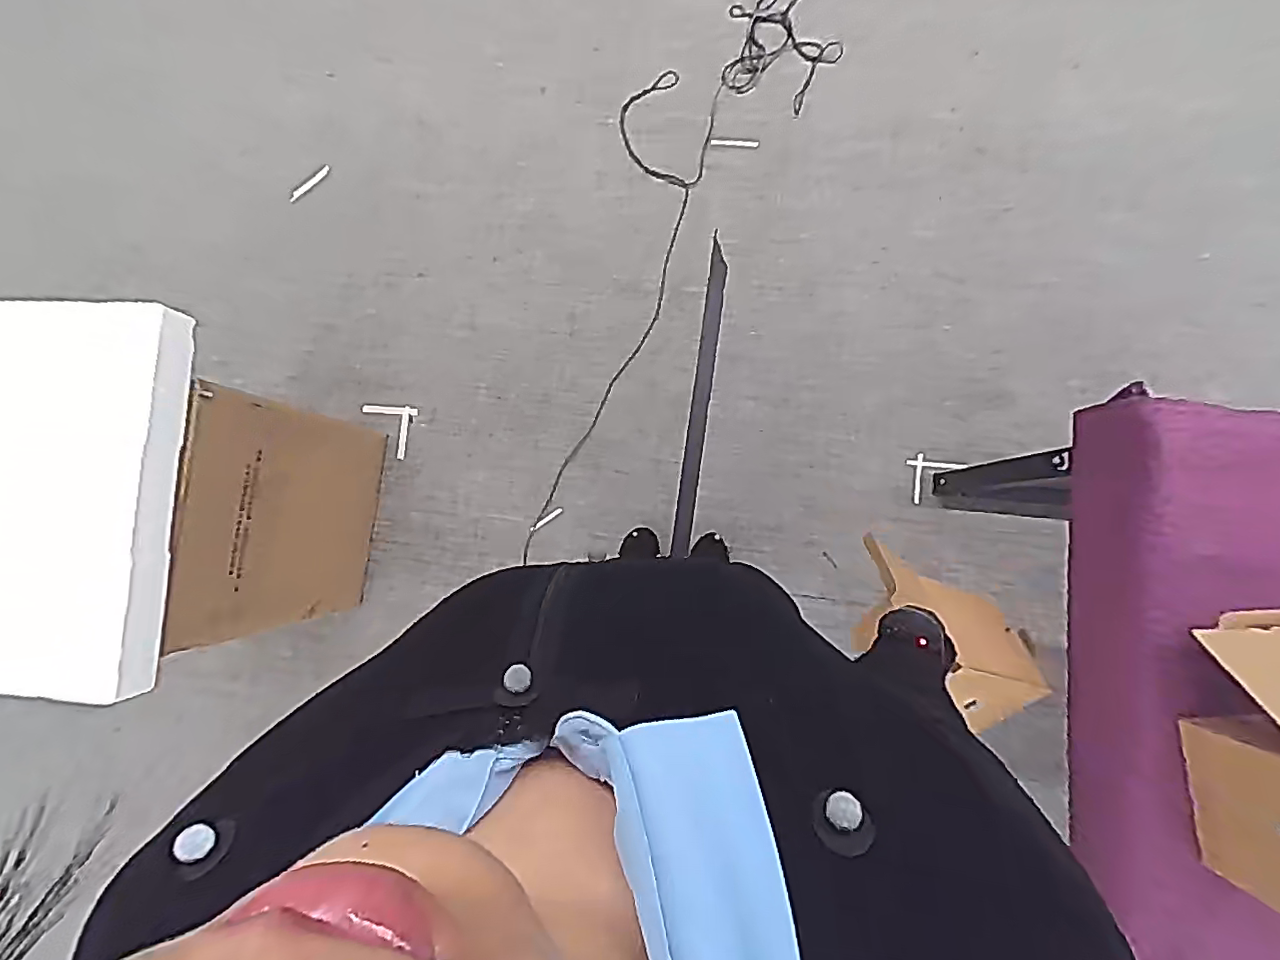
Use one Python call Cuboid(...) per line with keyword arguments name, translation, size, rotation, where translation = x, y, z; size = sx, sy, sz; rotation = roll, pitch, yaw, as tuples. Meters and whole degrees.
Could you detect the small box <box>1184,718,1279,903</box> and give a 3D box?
Cuboid(name="small box", translation=(0.754, 0.369, 0.586), size=(0.168, 0.176, 0.179), rotation=(-4, 84, 5))
